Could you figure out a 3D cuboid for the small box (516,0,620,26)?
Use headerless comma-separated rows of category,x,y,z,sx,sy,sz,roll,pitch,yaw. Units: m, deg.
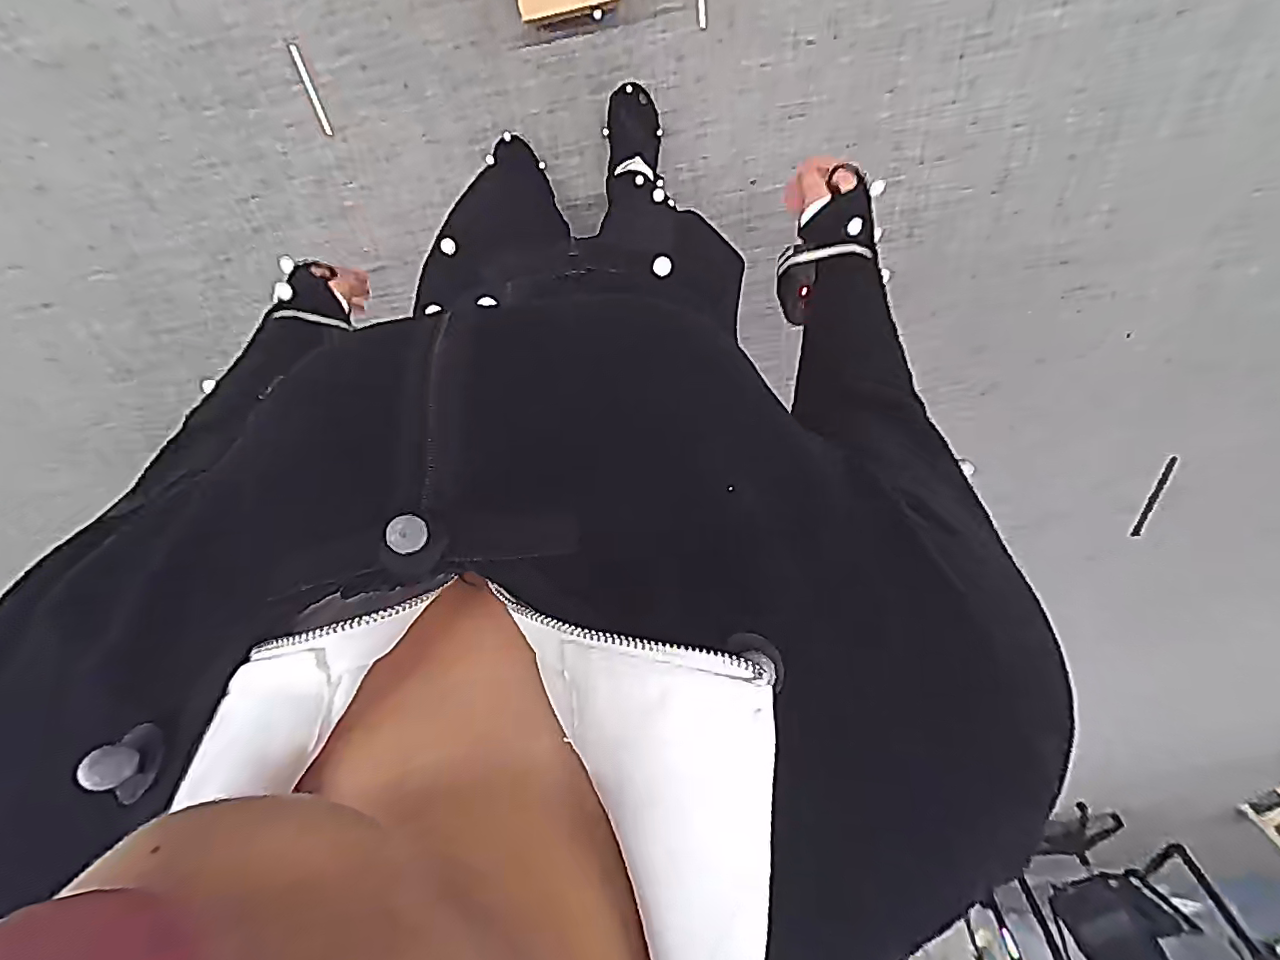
small box,-0.136,-0.909,0.936,0.179,0.176,0.168,-9,128,4

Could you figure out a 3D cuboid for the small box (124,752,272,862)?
small box,-1.024,0.767,1.273,0.179,0.176,0.168,-9,129,4
